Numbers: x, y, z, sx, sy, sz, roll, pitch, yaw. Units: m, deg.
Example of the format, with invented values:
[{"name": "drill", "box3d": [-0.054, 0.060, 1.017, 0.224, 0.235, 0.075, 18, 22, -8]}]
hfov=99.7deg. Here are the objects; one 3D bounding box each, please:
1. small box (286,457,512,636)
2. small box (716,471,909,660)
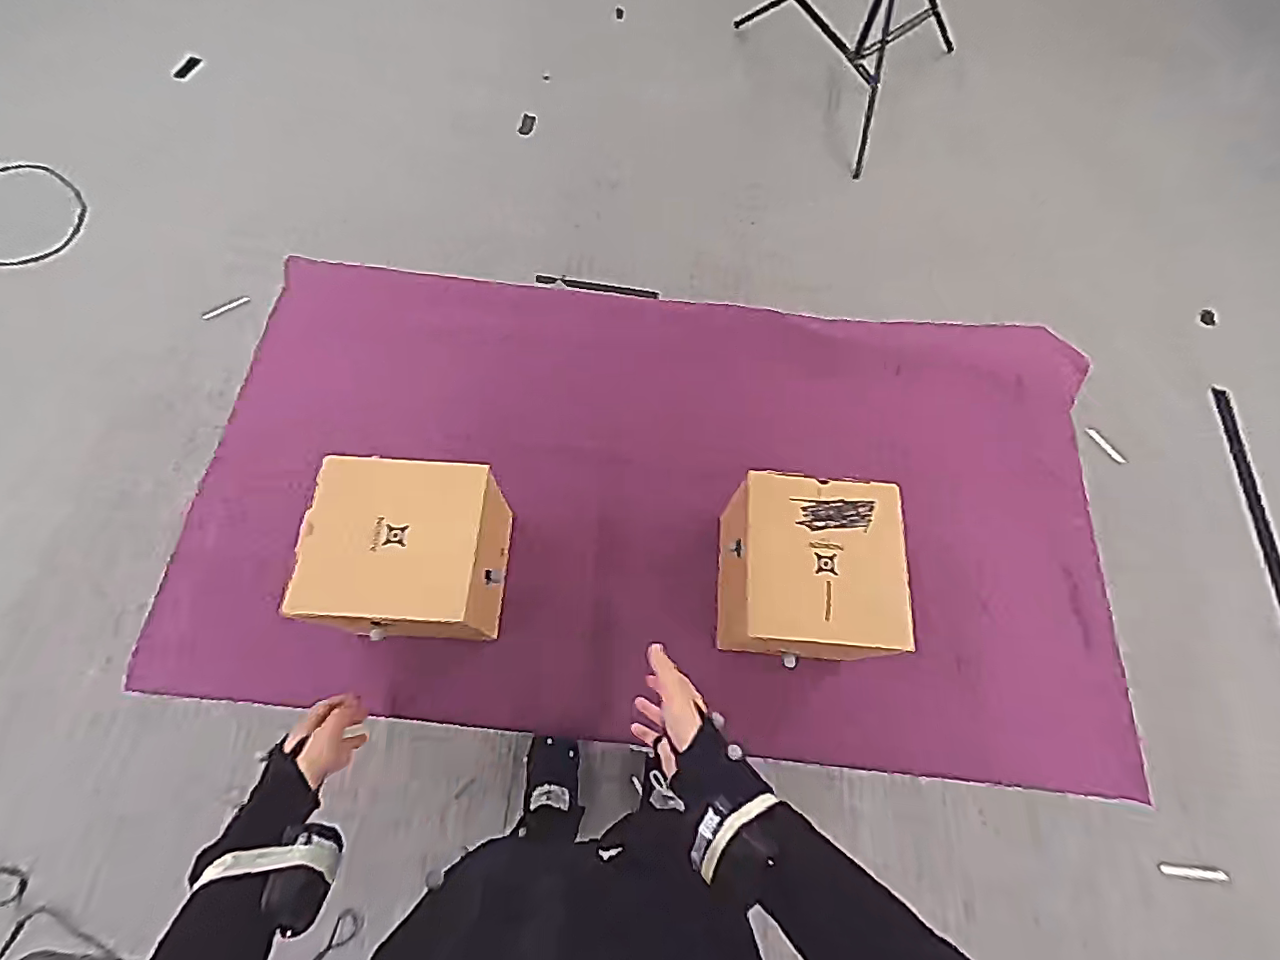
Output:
[{"name": "small box", "box3d": [-0.252, 0.085, 0.620, 0.179, 0.176, 0.168, 3, 69, -1]}, {"name": "small box", "box3d": [0.186, 0.108, 0.631, 0.168, 0.176, 0.179, 5, 69, 0]}]
